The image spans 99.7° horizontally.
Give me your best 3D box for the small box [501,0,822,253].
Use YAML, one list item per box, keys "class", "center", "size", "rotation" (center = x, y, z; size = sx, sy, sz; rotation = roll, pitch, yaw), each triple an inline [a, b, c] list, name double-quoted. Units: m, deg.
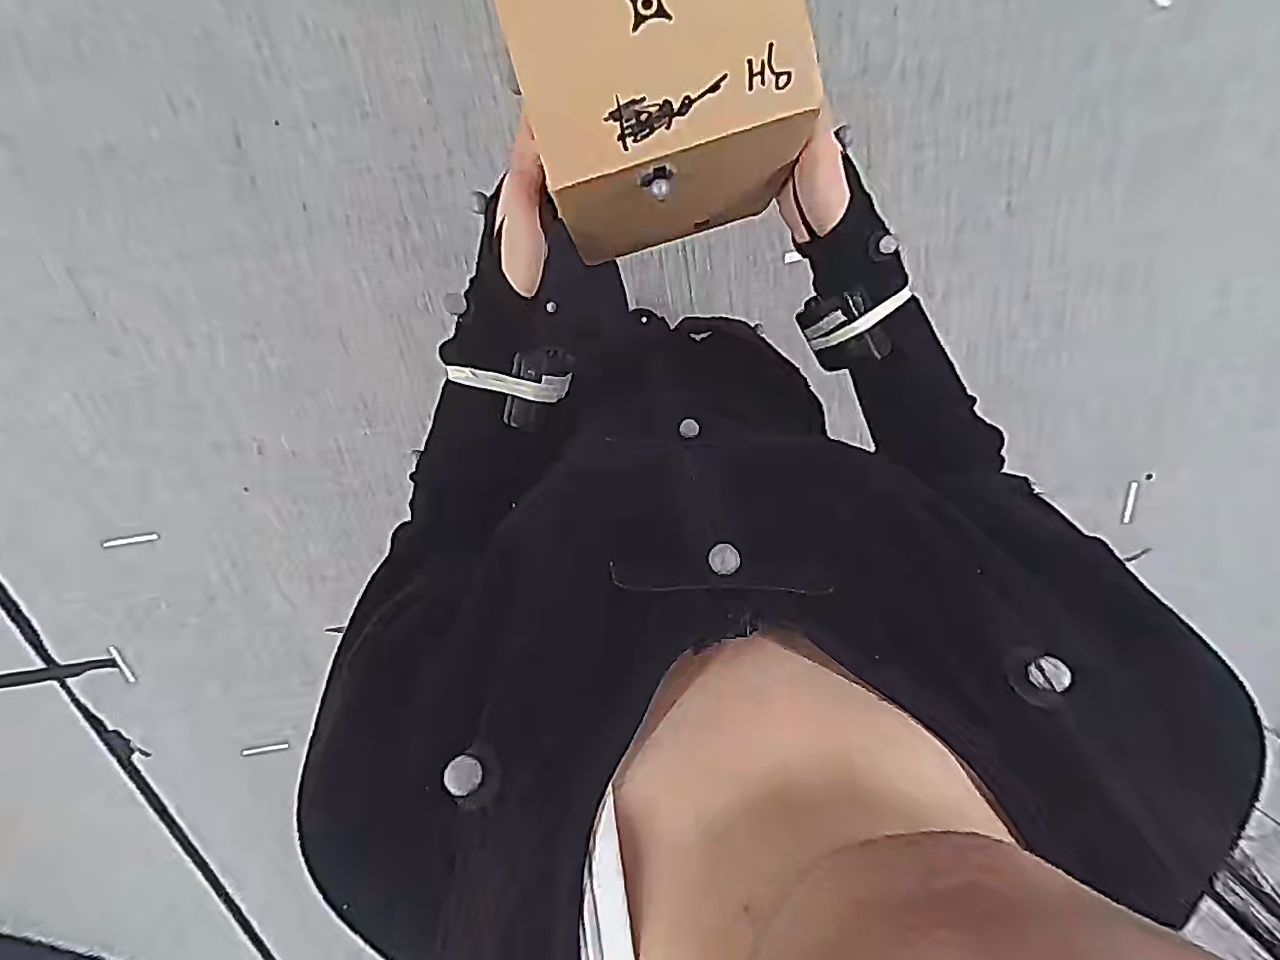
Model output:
- class: "small box"
  center: [0.005, -0.289, 0.379]
  size: [0.168, 0.176, 0.179]
  rotation: [-16, 96, 4]
